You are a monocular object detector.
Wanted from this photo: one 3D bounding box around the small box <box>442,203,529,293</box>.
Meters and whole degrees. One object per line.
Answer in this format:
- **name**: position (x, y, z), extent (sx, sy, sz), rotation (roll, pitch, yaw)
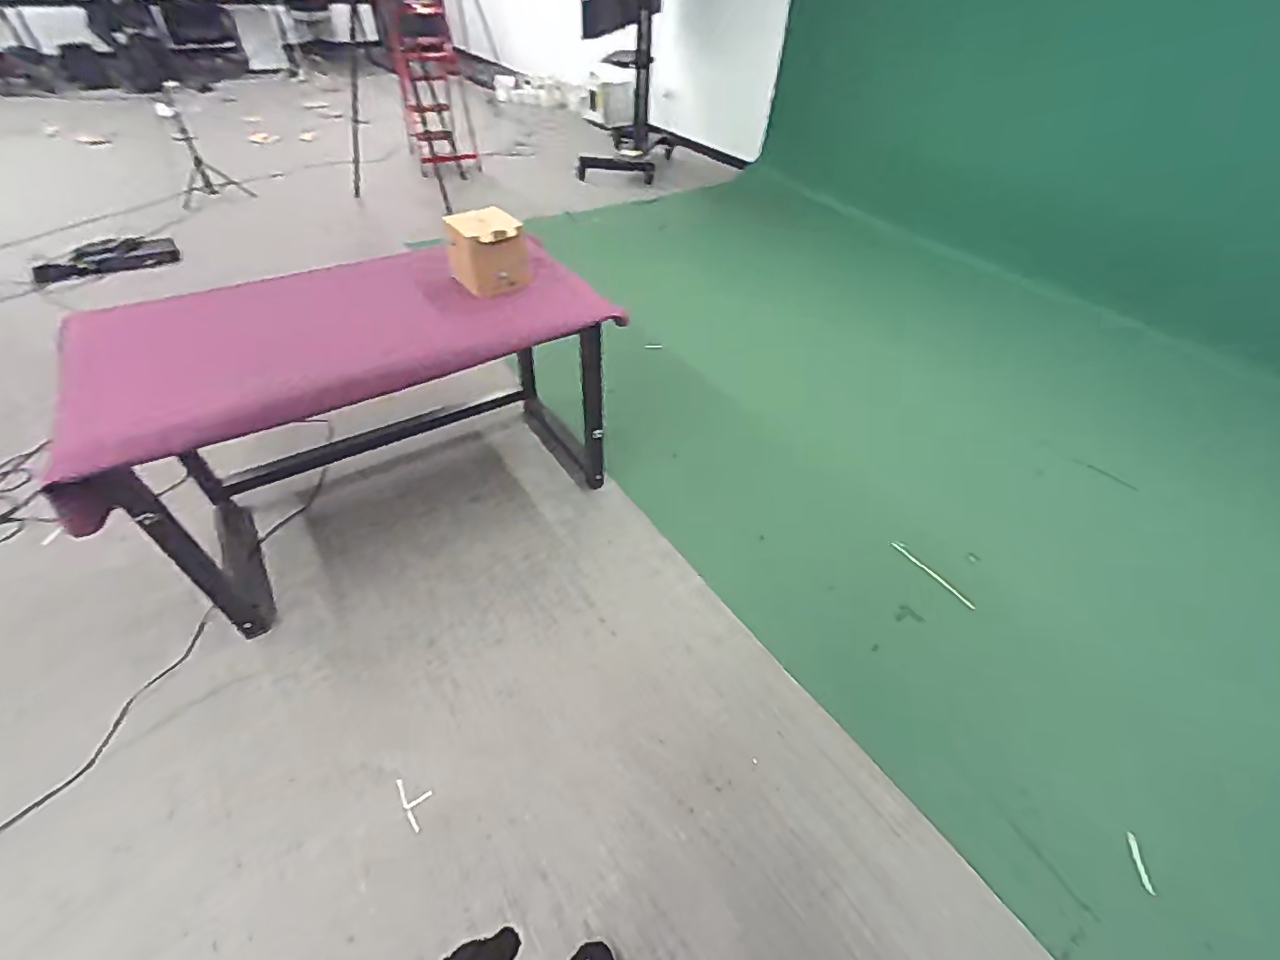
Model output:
- **small box**: position (-0.429, -0.649, 1.513), extent (0.168, 0.176, 0.179), rotation (-27, 54, -25)
